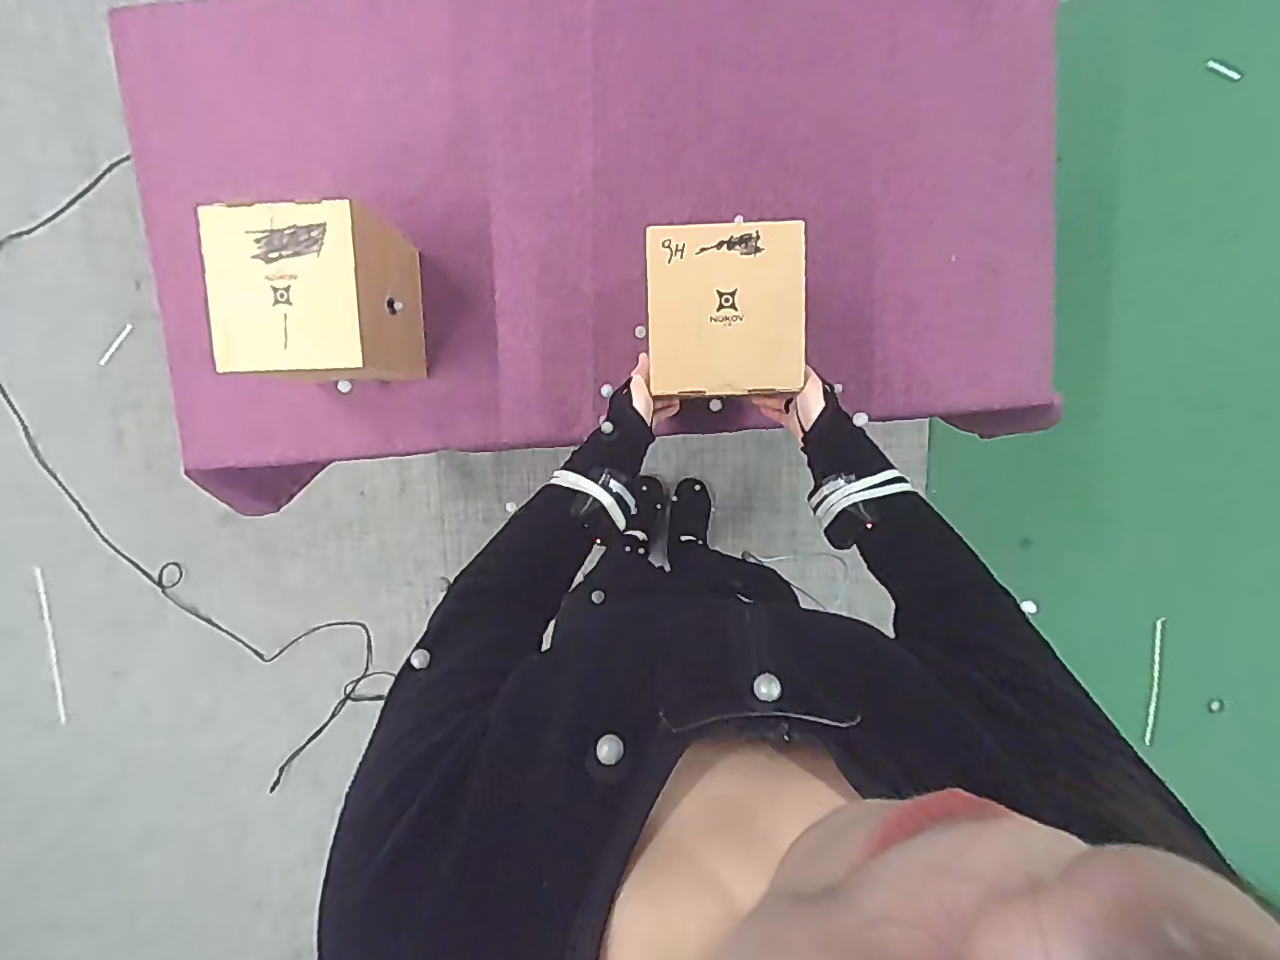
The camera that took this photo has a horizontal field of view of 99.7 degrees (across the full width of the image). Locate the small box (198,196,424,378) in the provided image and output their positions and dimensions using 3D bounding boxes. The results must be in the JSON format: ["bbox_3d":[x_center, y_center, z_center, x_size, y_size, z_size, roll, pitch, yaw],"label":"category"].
[{"bbox_3d":[-0.378,-0.219,0.653,0.168,0.176,0.179,-1,98,1],"label":"small box"}]

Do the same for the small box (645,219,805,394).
[{"bbox_3d":[0.091,-0.193,0.646,0.168,0.176,0.179,-1,97,1],"label":"small box"}]
